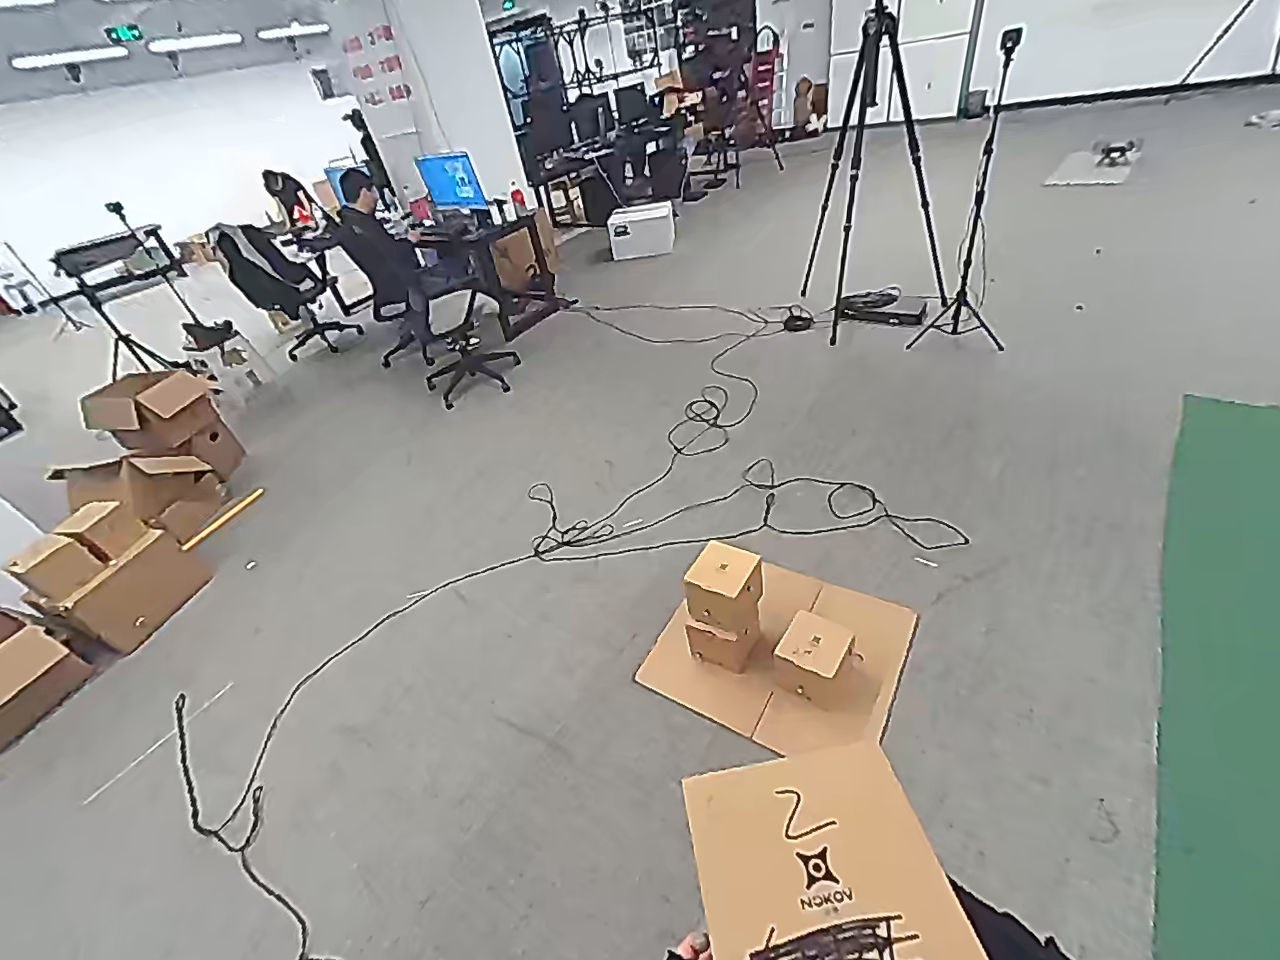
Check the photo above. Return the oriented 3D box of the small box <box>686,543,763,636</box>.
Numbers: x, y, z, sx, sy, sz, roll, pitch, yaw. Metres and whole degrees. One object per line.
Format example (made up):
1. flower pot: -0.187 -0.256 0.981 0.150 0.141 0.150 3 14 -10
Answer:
1. small box: 0.252 0.322 1.592 0.168 0.176 0.179 16 45 32

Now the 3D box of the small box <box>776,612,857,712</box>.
1. small box: 0.501 0.518 1.542 0.168 0.176 0.179 18 48 35

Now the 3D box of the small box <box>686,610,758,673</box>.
1. small box: 0.262 0.464 1.676 0.168 0.176 0.179 13 44 30
